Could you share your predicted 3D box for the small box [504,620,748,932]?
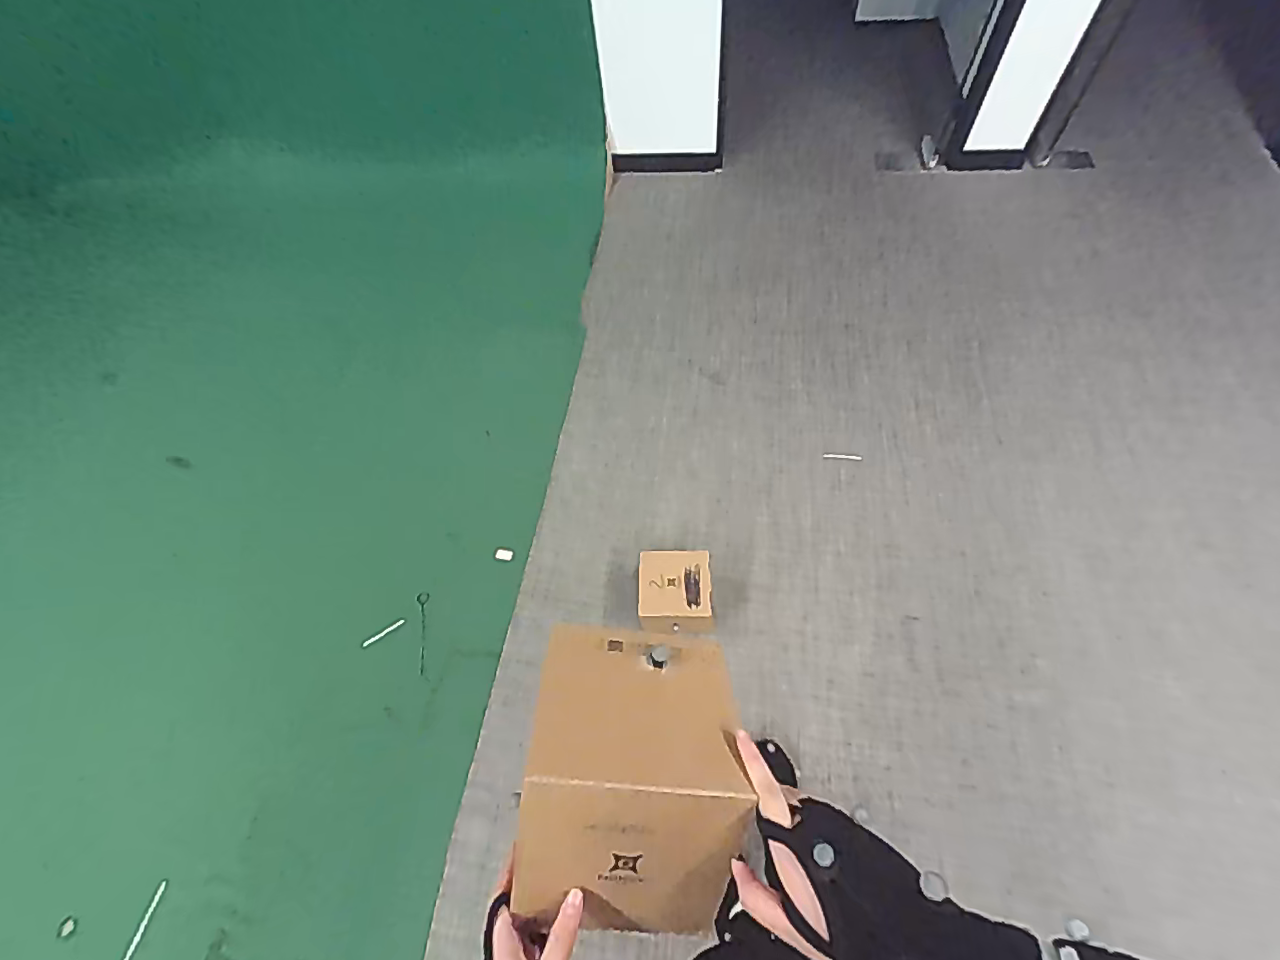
[{"bbox_3d":[-0.018,0.255,0.484,0.168,0.179,0.176,8,23,-6],"label":"small box"}]
